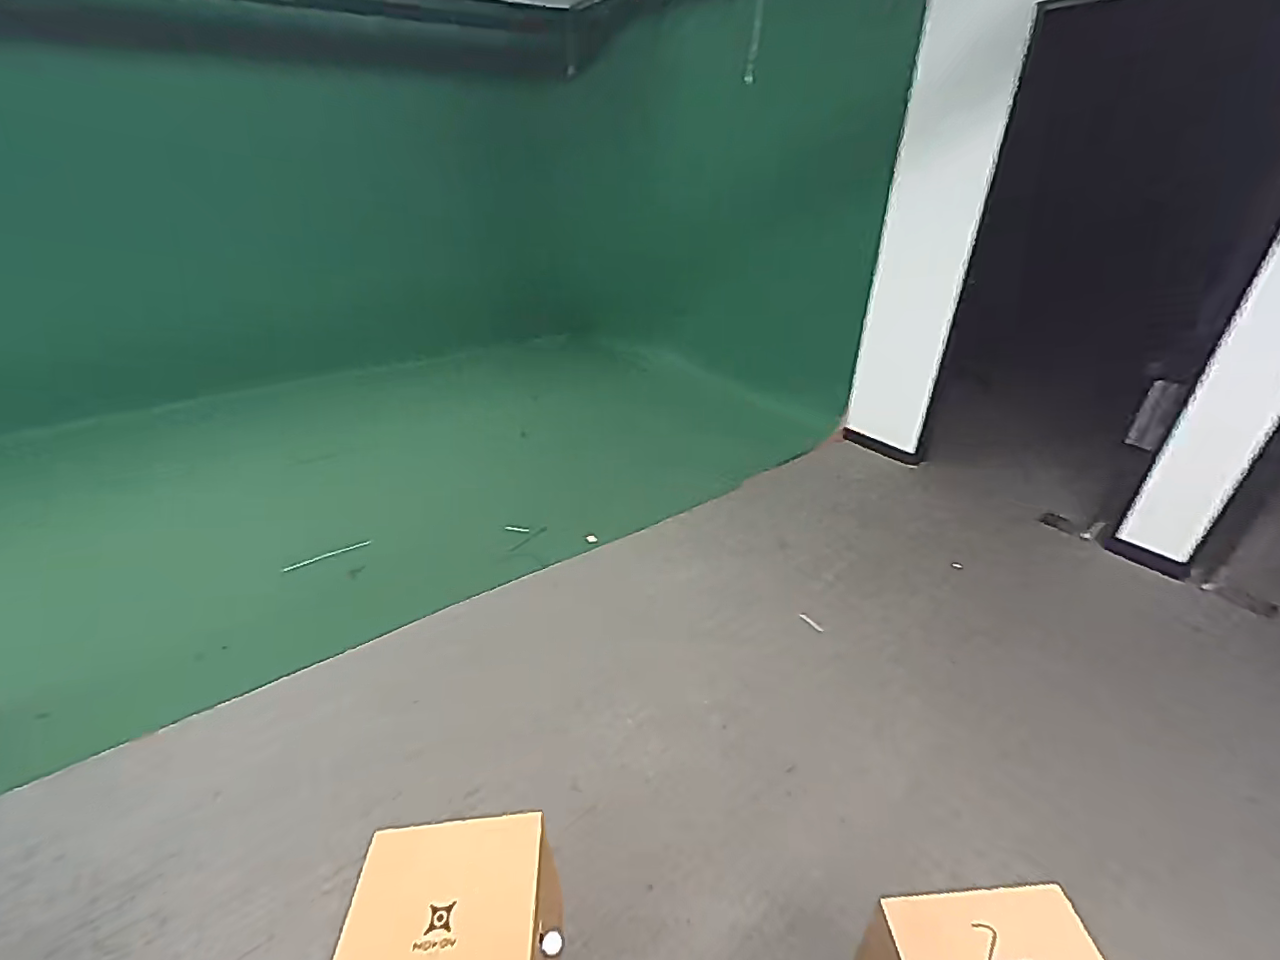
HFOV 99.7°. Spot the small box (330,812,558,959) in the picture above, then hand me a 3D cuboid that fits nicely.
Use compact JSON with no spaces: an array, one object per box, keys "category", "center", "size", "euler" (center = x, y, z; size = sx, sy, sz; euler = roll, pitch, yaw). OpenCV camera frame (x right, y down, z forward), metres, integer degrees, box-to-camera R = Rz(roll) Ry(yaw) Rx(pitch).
[{"category":"small box","center":[-0.169,0.448,0.499],"size":[0.168,0.176,0.179],"euler":[-5,29,-3]}]
